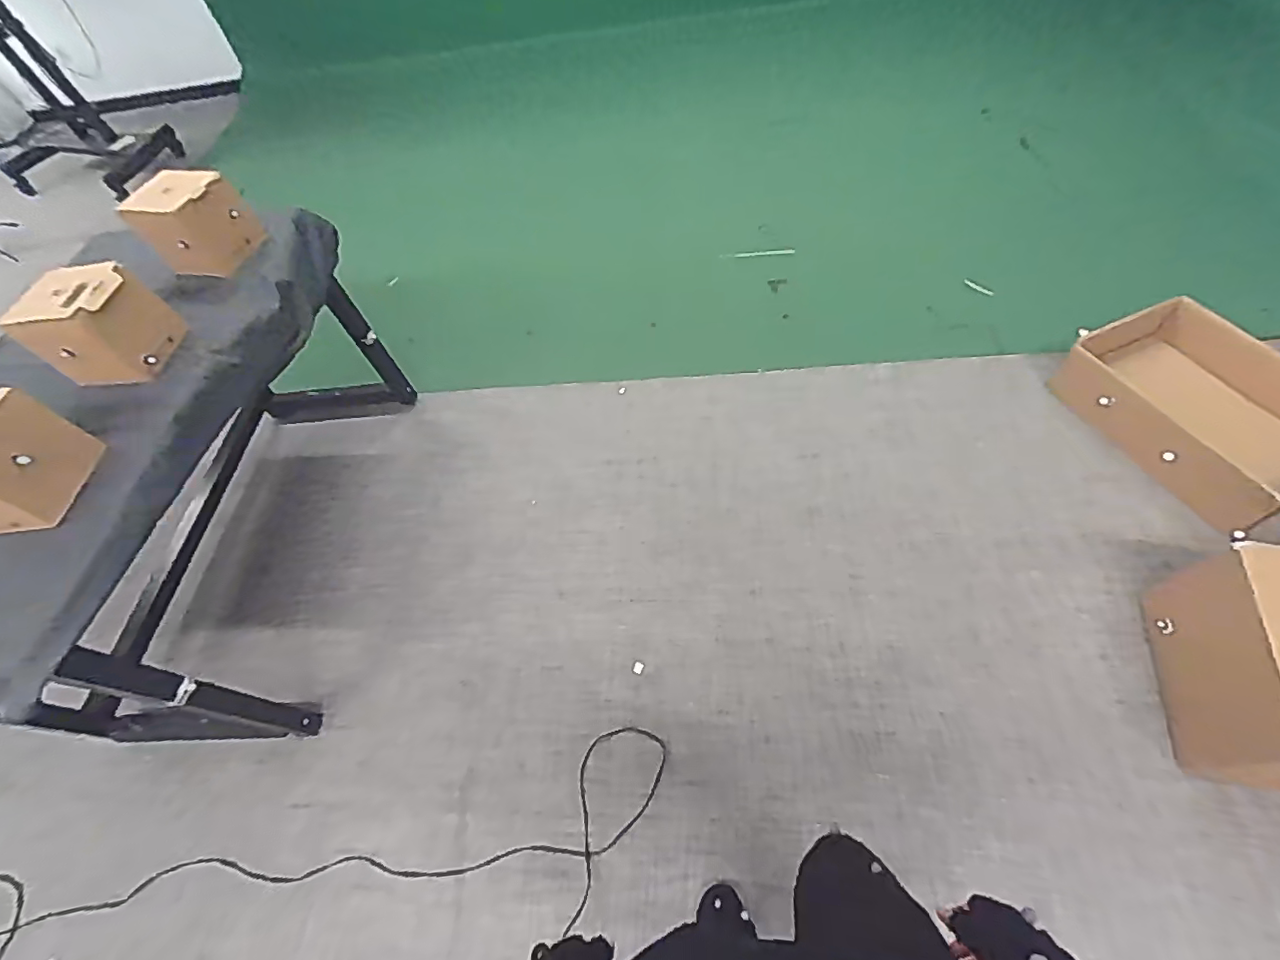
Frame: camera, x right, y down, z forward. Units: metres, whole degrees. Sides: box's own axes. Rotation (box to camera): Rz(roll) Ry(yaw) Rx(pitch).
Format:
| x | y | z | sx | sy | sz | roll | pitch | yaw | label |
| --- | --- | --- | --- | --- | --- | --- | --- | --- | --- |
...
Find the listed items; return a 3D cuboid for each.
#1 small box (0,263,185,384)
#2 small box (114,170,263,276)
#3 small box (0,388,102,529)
| x | y | z | sx | sy | sz | roll | pitch | yaw | label |
| --- | --- | --- | --- | --- | --- | --- | --- | --- | --- |
| -1.096 | -0.312 | 1.099 | 0.179 | 0.176 | 0.168 | -2 | 57 | 8 | small box |
| -1.053 | -0.605 | 1.281 | 0.179 | 0.176 | 0.168 | 8 | 59 | 15 | small box |
| -1.088 | -0.027 | 0.914 | 0.168 | 0.176 | 0.179 | -7 | 57 | 6 | small box |
